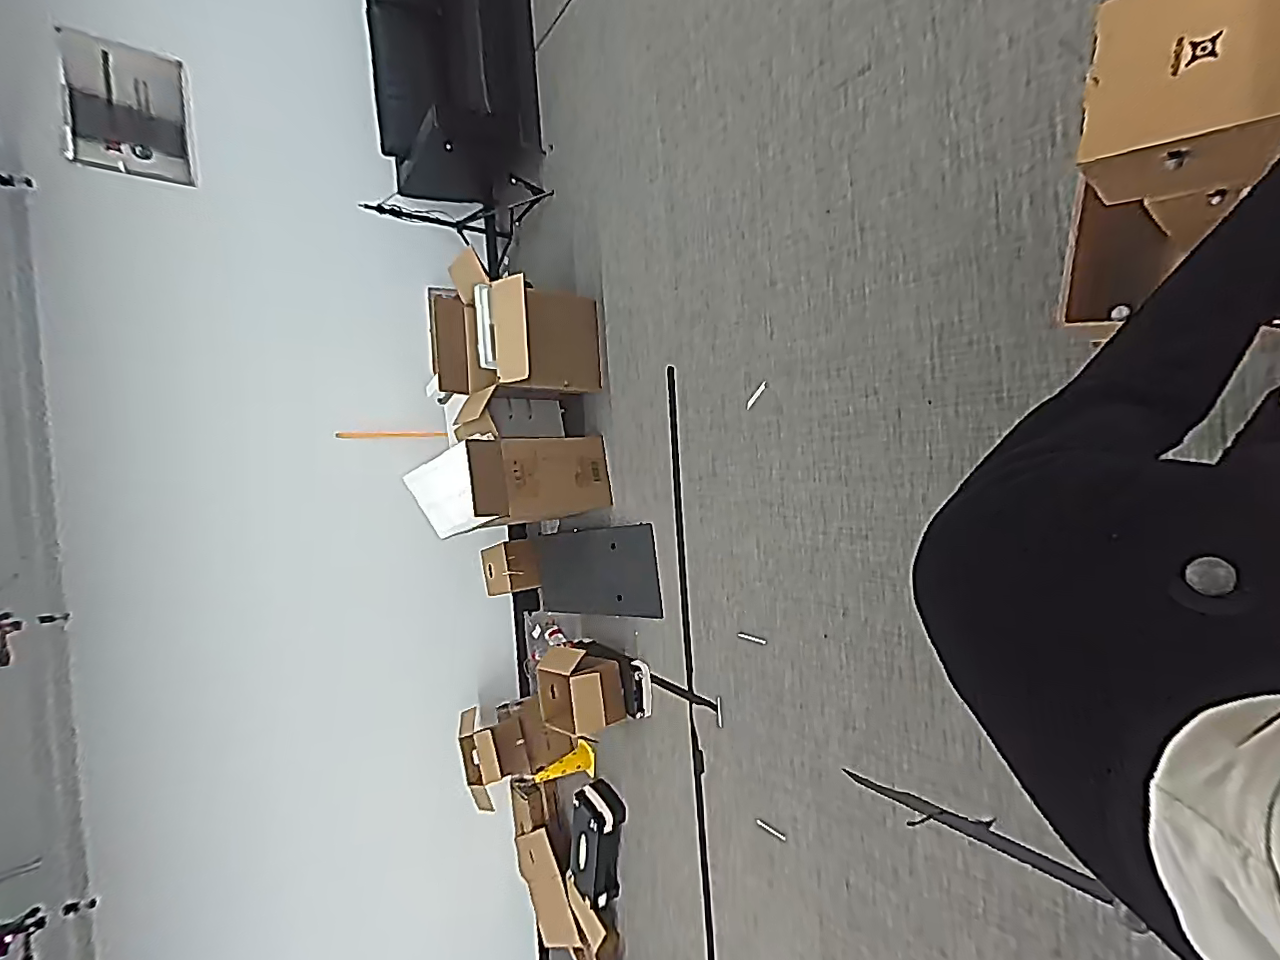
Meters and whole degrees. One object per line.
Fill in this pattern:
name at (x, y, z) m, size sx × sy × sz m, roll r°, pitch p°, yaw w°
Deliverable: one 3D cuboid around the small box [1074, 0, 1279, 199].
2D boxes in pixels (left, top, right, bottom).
small box at (0.609, -0.426, 0.580) m, size 0.179 × 0.176 × 0.168 m, roll 14°, pitch 104°, yaw 51°
